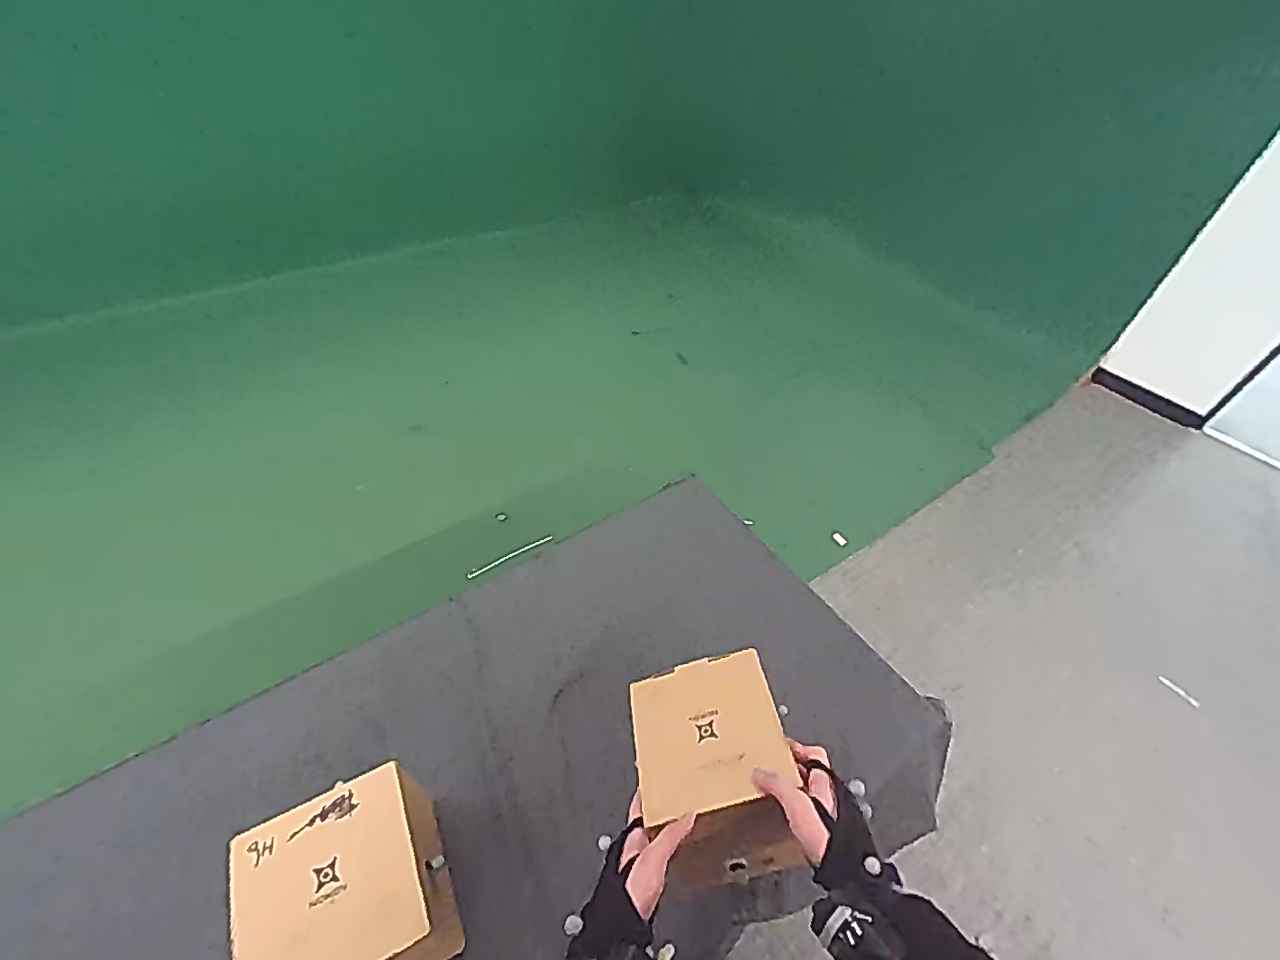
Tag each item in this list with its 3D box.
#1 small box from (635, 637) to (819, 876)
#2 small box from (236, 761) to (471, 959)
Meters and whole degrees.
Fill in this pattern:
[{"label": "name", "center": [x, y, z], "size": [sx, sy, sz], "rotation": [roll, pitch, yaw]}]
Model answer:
[{"label": "small box", "center": [0.098, 0.323, 0.638], "size": [0.168, 0.176, 0.179], "rotation": [-17, 33, 7]}, {"label": "small box", "center": [-0.304, 0.454, 0.595], "size": [0.168, 0.176, 0.179], "rotation": [-24, 51, -20]}]
